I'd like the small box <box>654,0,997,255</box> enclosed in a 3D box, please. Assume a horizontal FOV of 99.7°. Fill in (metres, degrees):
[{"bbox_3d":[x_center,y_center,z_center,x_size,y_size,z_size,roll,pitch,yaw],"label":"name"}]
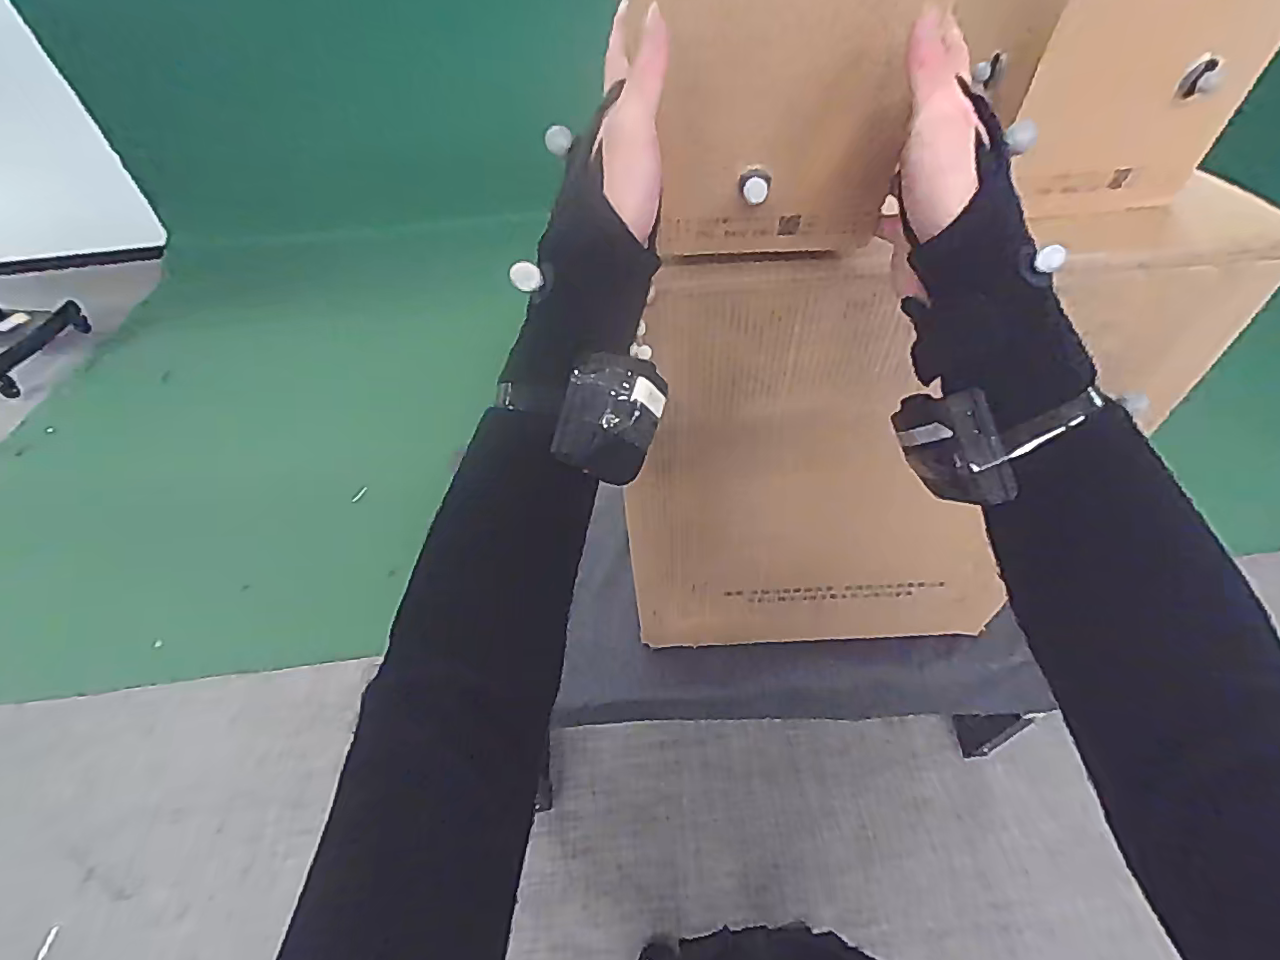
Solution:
[{"bbox_3d":[0.096,-0.273,0.350,0.168,0.176,0.179,2,57,4],"label":"small box"}]
